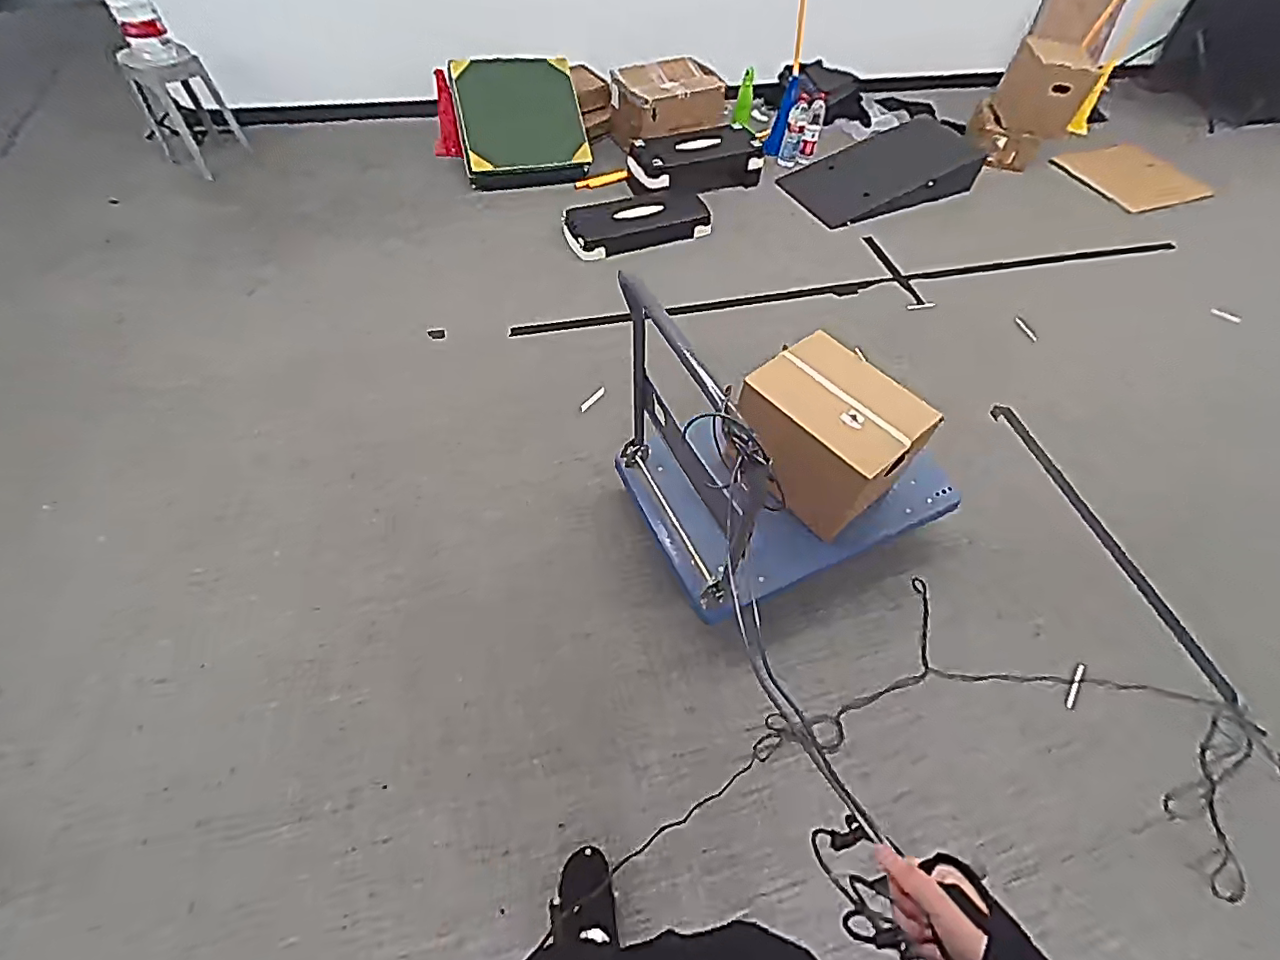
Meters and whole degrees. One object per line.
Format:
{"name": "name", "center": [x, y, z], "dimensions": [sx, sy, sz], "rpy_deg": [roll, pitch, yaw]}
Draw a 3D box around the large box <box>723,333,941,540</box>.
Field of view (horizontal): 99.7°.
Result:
{"name": "large box", "center": [0.494, -0.119, 1.477], "dimensions": [0.320, 0.320, 0.408], "rpy_deg": [-34, 65, -22]}
